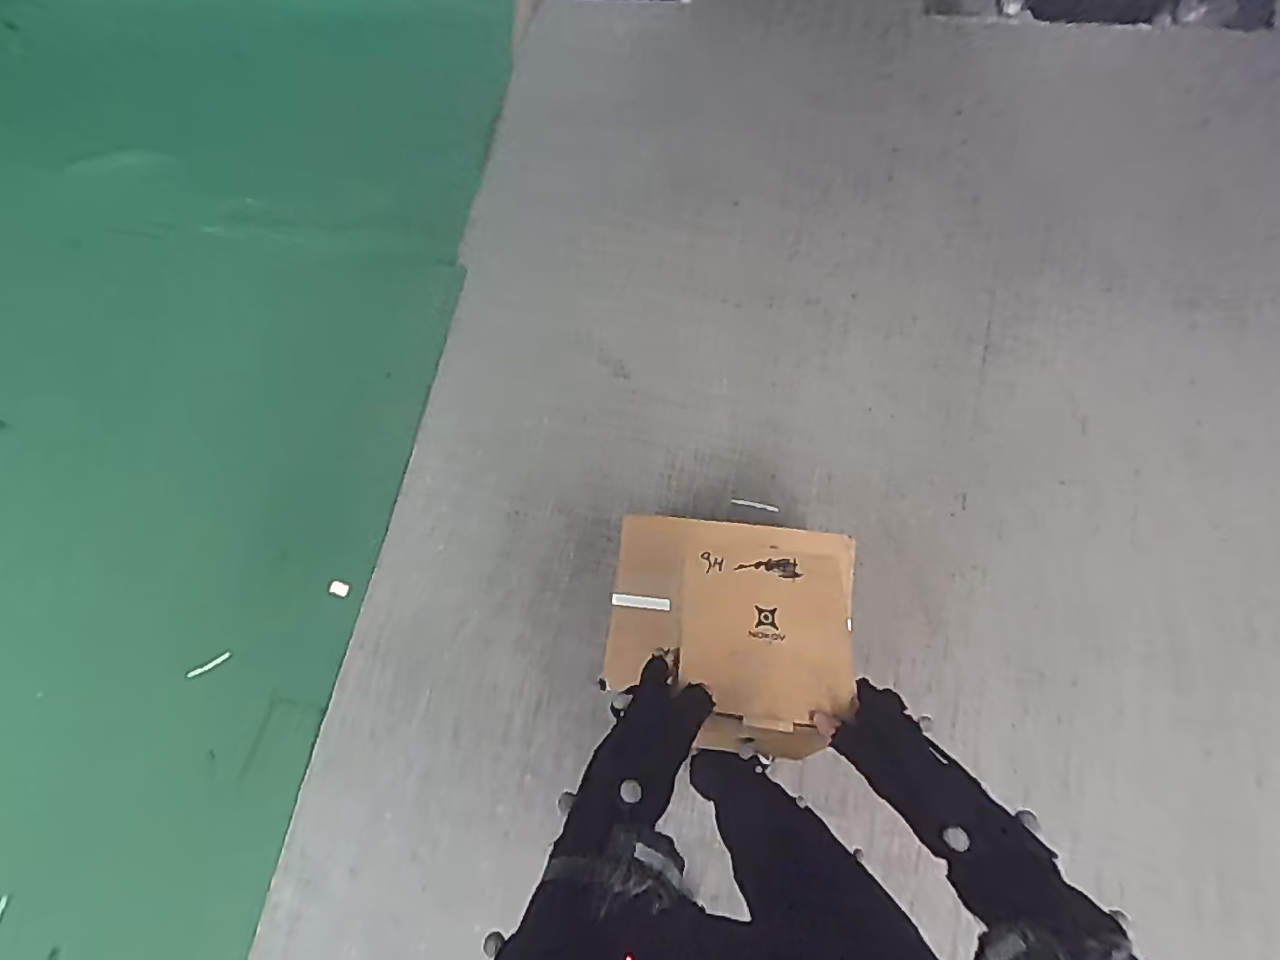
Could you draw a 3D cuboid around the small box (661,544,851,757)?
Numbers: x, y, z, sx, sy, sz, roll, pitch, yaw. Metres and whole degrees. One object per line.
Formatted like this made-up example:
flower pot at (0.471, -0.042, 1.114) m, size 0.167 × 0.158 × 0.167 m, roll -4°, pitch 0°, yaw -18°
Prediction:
small box at (0.115, 0.194, 0.596) m, size 0.168 × 0.176 × 0.179 m, roll 7°, pitch 55°, yaw 1°
